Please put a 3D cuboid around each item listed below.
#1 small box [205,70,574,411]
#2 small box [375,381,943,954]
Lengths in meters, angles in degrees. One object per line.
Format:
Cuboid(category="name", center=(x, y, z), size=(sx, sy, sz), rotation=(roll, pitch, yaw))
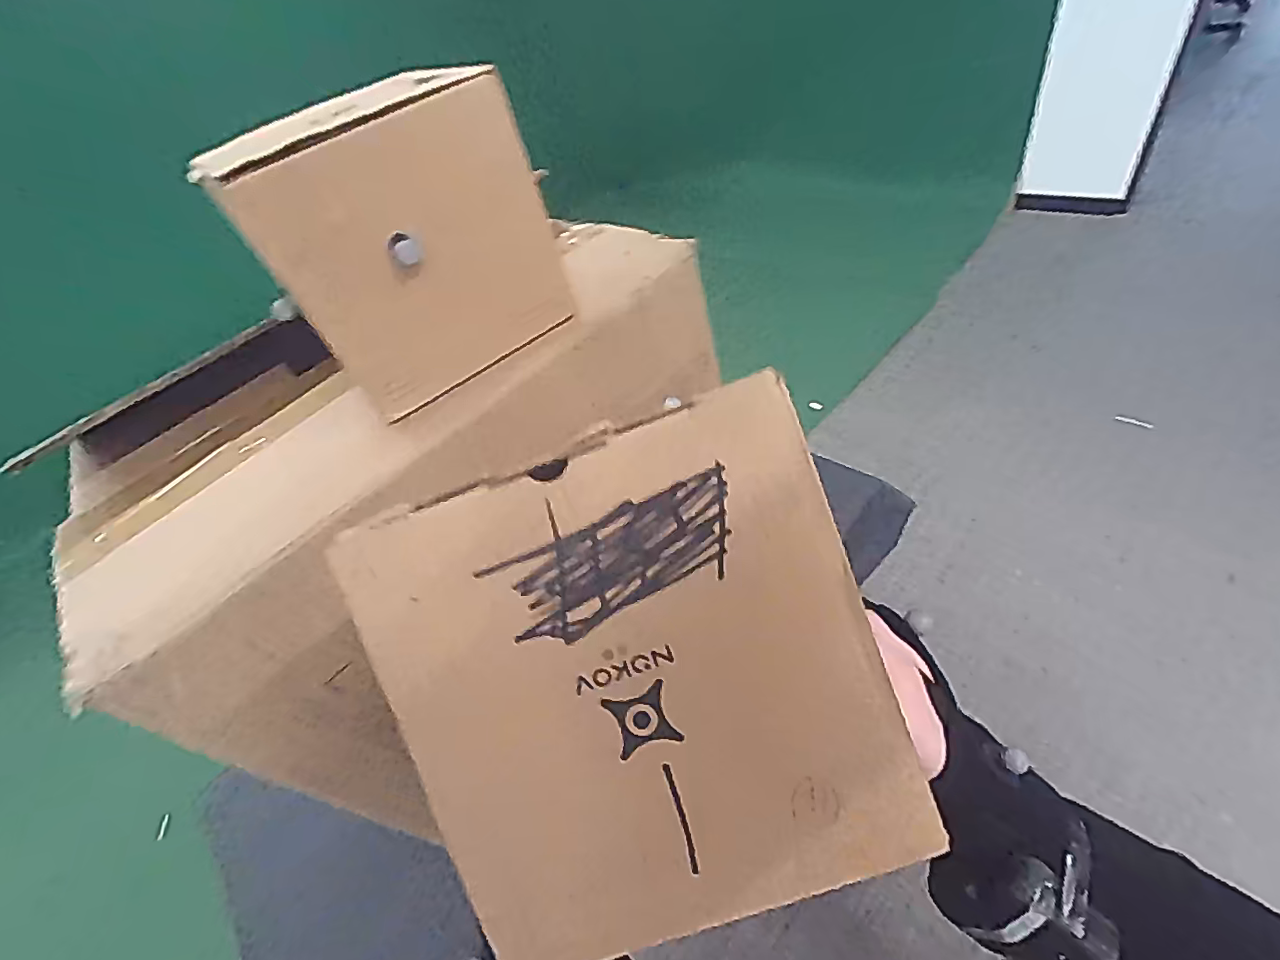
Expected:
Cuboid(category="small box", center=(-0.180, -0.182, 0.416), size=(0.179, 0.176, 0.168), rotation=(-37, 48, -16))
Cuboid(category="small box", center=(0.009, 0.068, 0.275), size=(0.168, 0.179, 0.176), rotation=(-19, 2, 5))
